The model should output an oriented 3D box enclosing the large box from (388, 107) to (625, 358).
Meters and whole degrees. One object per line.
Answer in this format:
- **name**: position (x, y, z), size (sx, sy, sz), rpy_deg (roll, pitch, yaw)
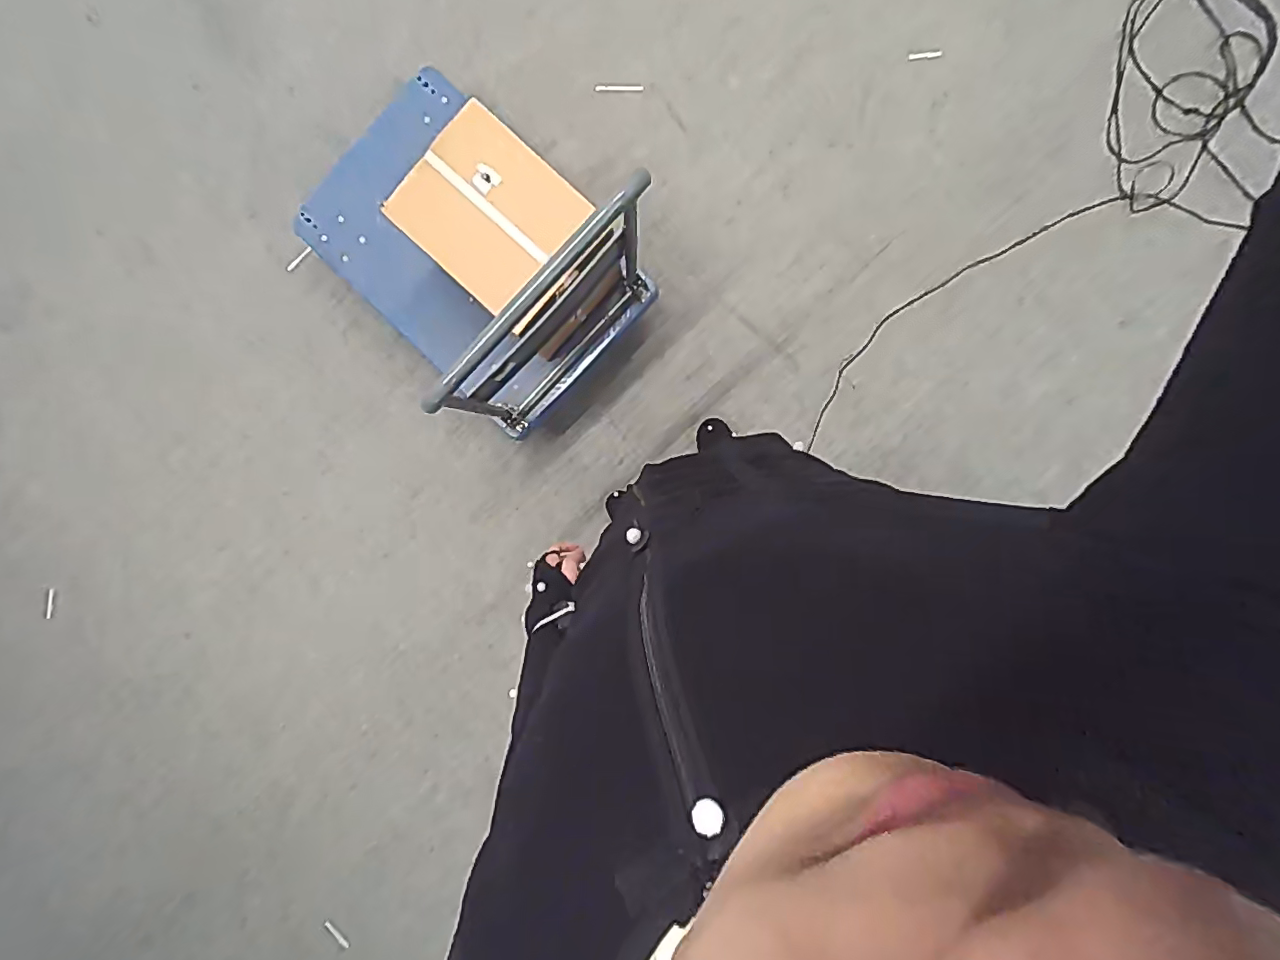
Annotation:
- **large box**: position (-0.290, -0.559, 1.303), size (0.408, 0.320, 0.320), rpy_deg (42, 93, 1)
